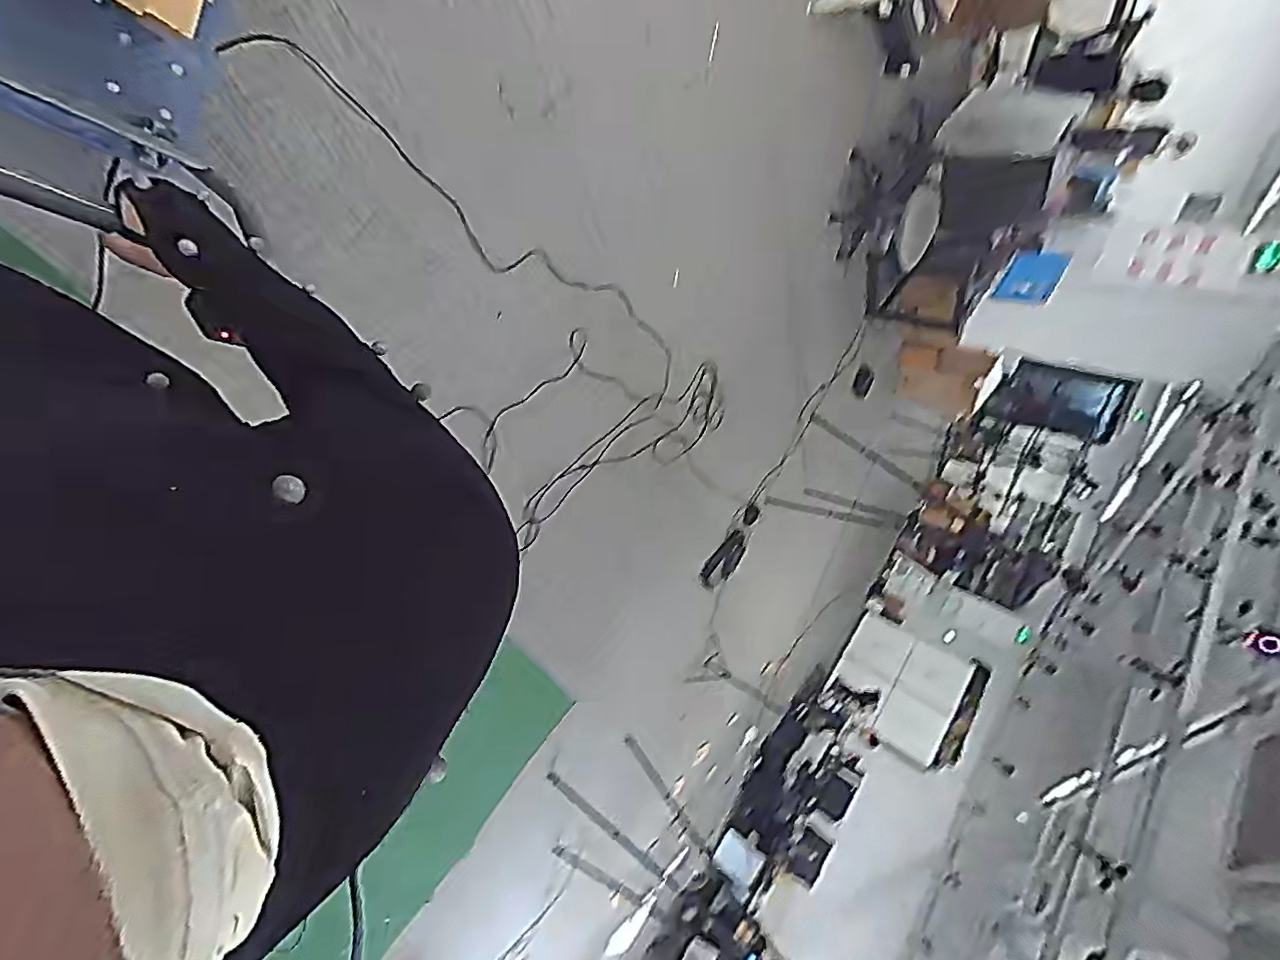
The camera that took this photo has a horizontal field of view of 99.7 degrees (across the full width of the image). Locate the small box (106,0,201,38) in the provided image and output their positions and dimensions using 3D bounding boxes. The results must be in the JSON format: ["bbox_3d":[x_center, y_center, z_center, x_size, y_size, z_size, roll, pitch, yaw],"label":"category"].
[{"bbox_3d":[-0.776,-0.819,0.814,0.168,0.176,0.179,10,110,-56],"label":"small box"}]
